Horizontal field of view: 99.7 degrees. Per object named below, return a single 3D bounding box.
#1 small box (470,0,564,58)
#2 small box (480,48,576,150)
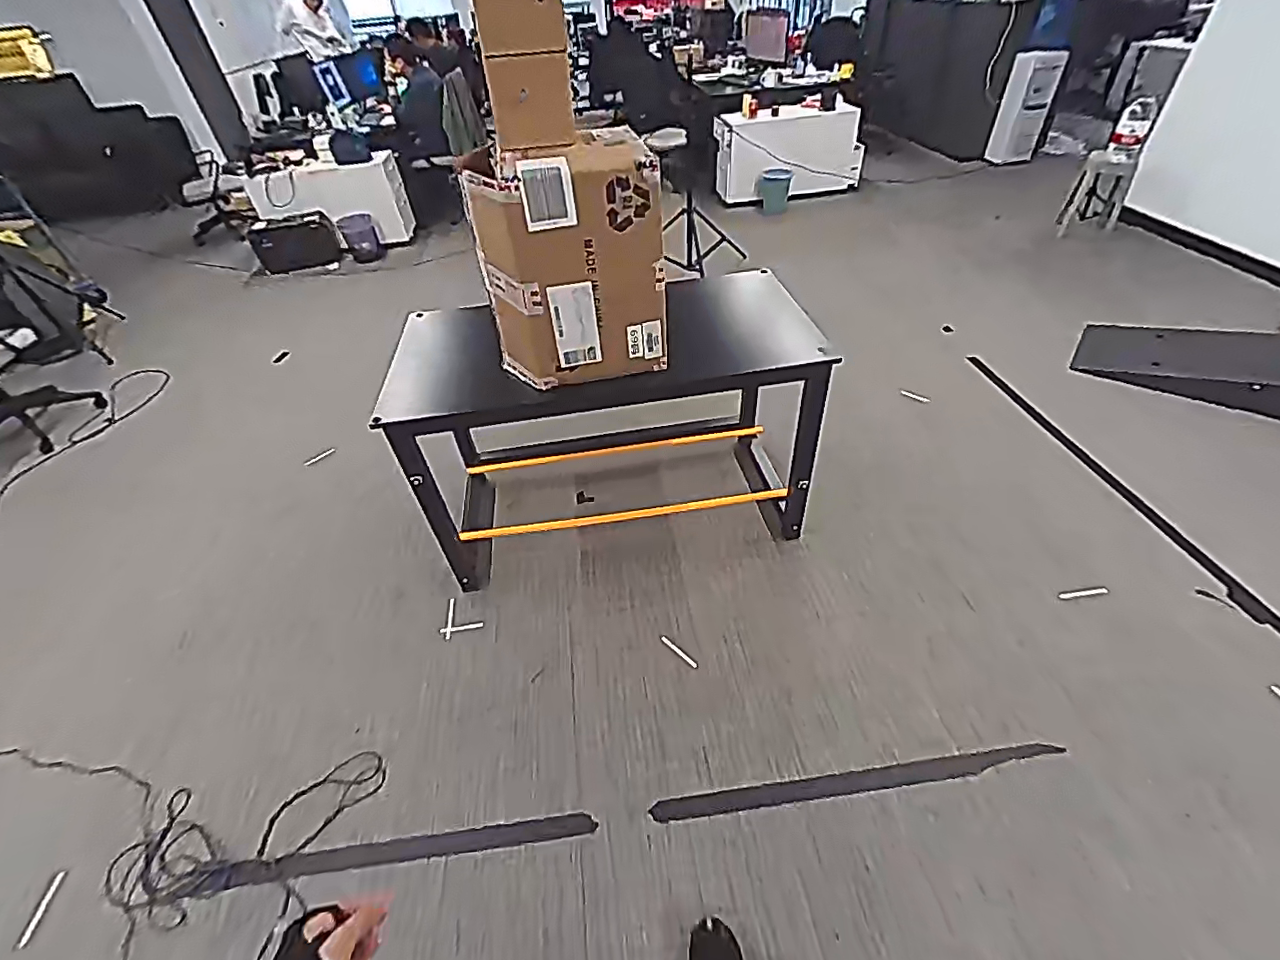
[{"bbox_3d":[-0.257,-0.977,1.105,0.179,0.176,0.168,-12,40,-8],"label":"small box"},{"bbox_3d":[-0.249,-0.856,1.216,0.179,0.176,0.168,-11,41,-6],"label":"small box"}]
